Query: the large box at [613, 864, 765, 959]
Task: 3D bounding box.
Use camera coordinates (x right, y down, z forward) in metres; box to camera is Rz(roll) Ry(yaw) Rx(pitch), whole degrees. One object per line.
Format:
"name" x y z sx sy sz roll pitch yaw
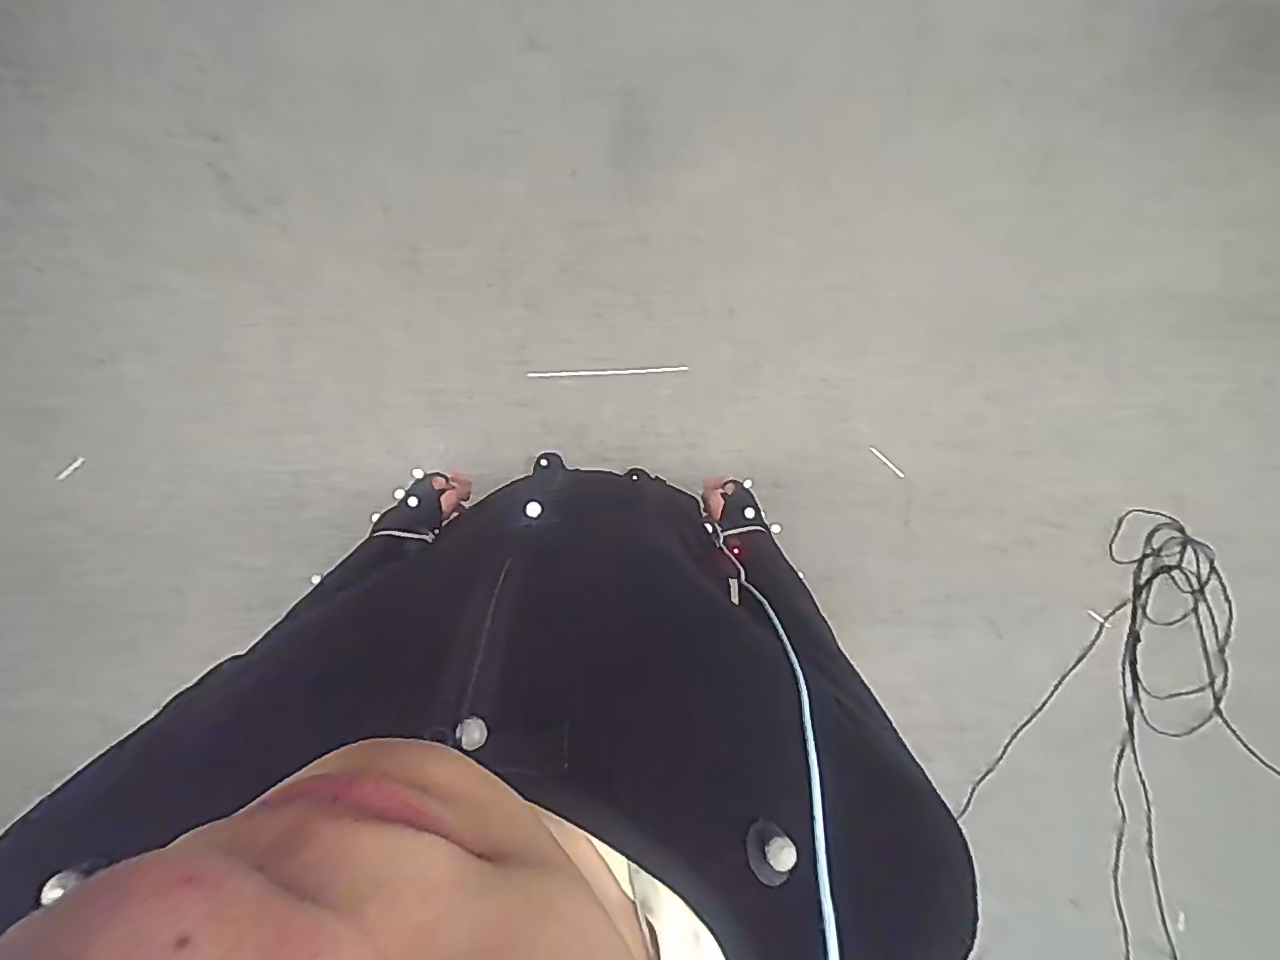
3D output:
"large box" 0.136 1.385 1.562 0.408 0.320 0.320 -4 92 -2
